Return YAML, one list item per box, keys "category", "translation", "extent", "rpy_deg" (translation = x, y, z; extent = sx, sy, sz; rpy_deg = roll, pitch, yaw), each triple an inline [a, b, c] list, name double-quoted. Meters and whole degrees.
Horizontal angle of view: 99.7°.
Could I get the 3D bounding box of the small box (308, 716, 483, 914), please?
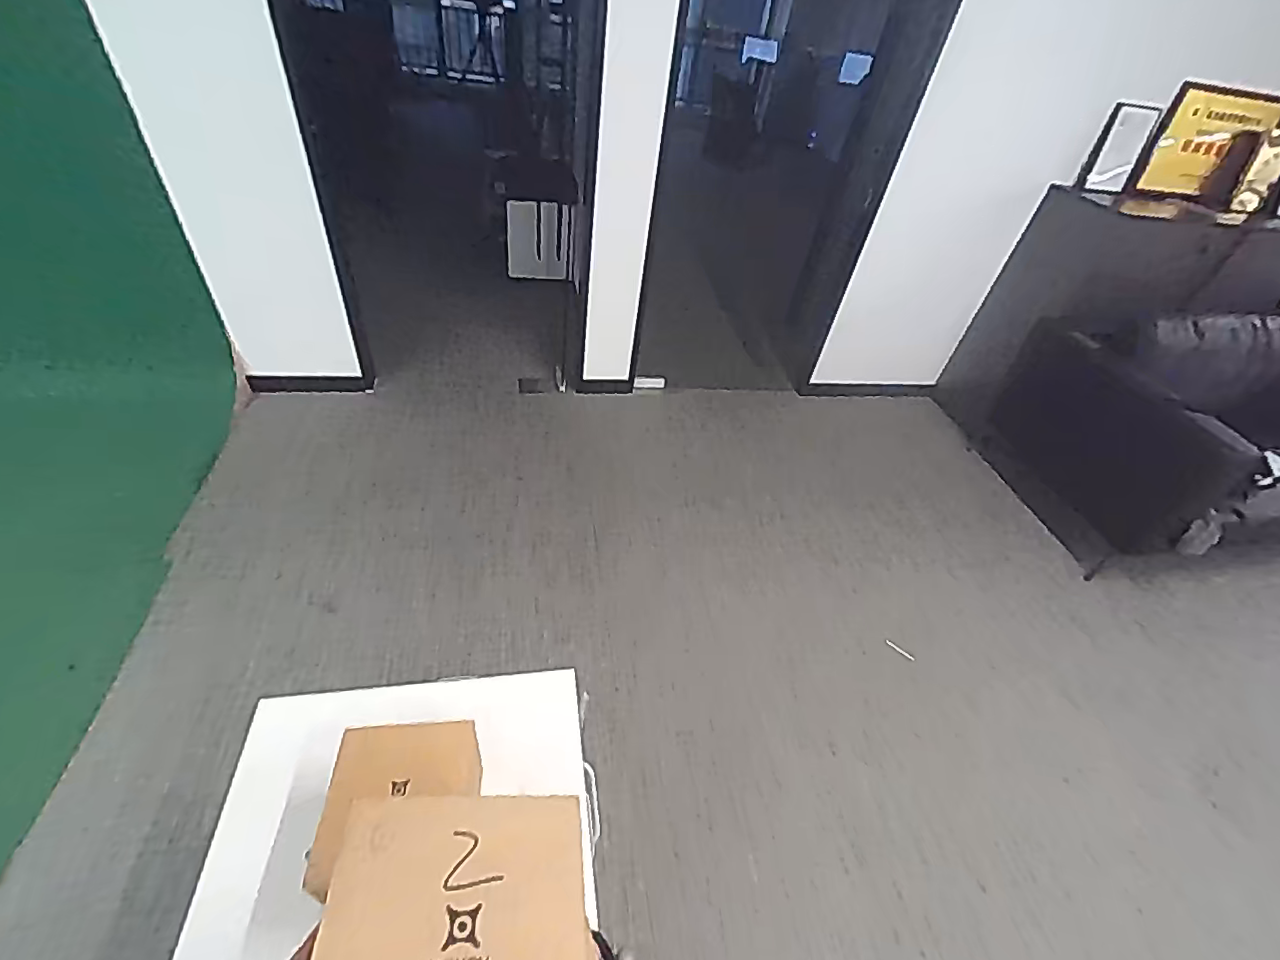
- category: "small box"
  translation: [-0.301, 0.436, 0.710]
  extent: [0.168, 0.176, 0.179]
  rpy_deg: [0, 43, -11]
